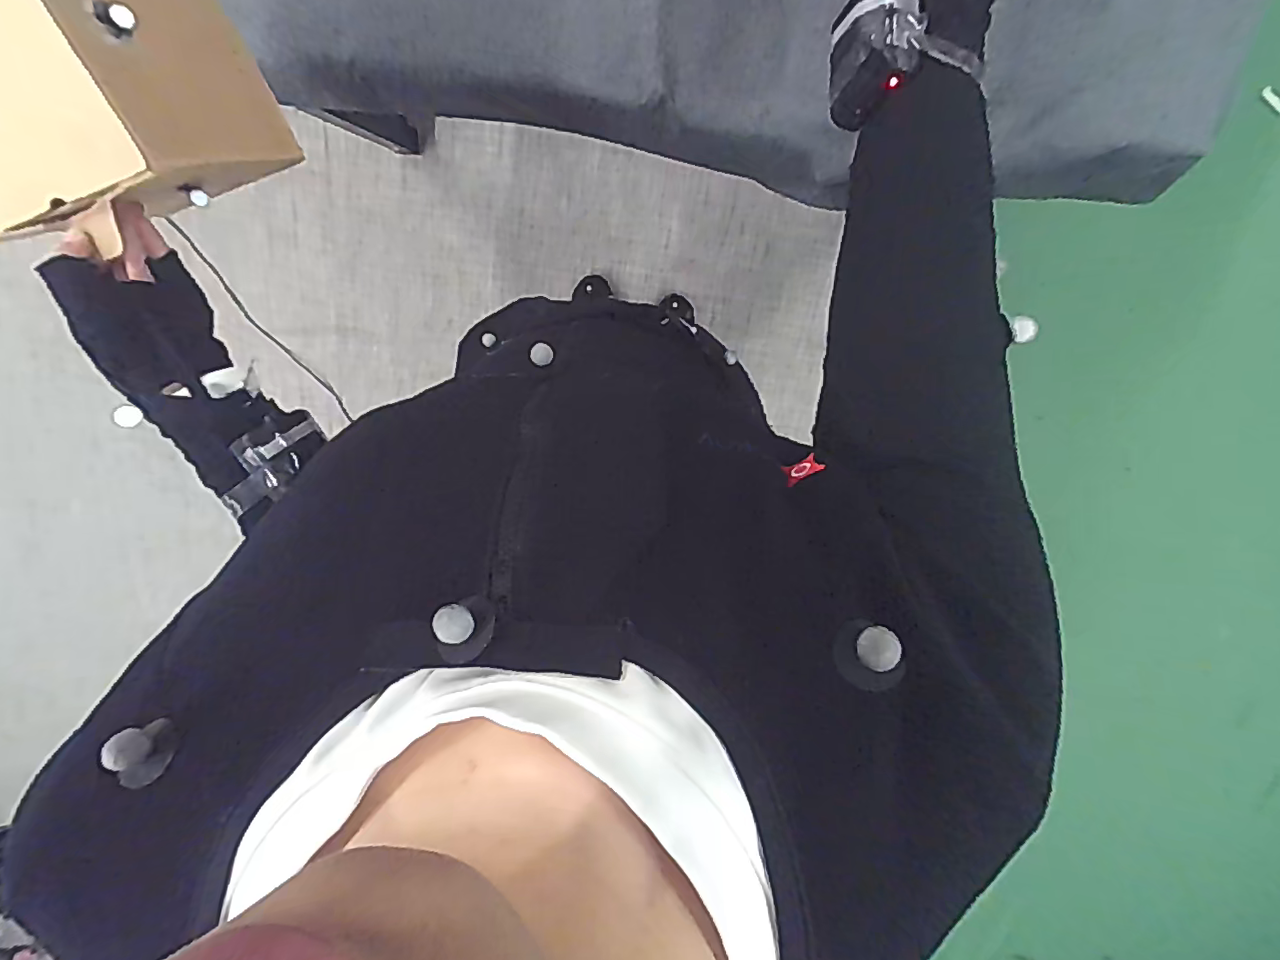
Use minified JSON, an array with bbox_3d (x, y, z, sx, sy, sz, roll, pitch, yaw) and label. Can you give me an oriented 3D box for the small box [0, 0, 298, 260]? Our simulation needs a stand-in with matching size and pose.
[{"bbox_3d":[-0.399,-0.283,0.386,0.168,0.176,0.179,-12,119,12],"label":"small box"}]
